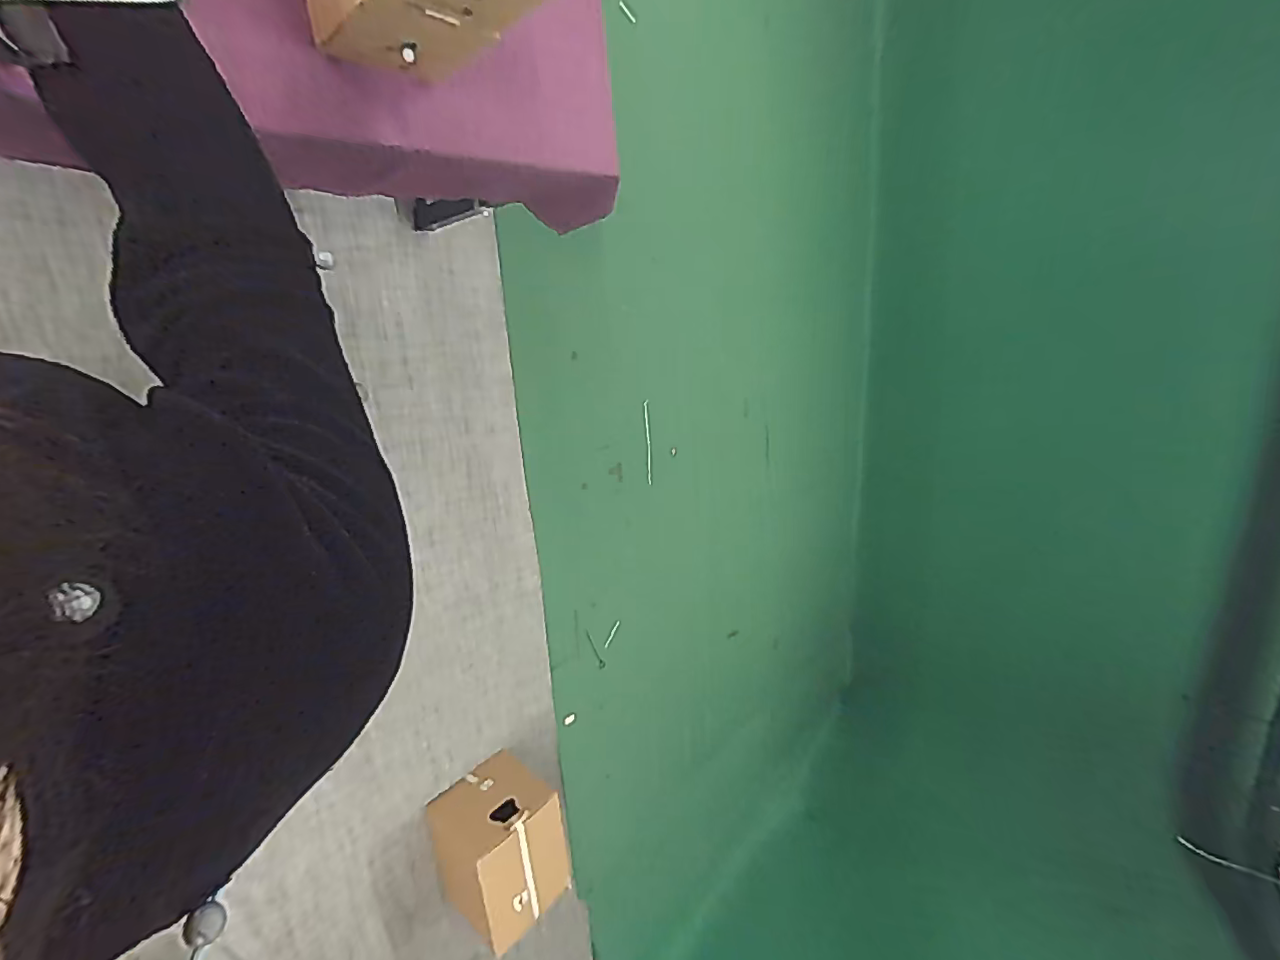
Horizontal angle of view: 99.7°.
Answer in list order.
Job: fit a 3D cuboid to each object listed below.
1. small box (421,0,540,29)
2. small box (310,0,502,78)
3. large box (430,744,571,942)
[{"bbox_3d":[-0.175,-0.607,0.547,0.168,0.176,0.179,-23,114,-44],"label":"small box"},{"bbox_3d":[-0.295,-0.630,0.658,0.168,0.176,0.179,-23,115,-44],"label":"small box"},{"bbox_3d":[-0.471,1.212,1.848,0.320,0.320,0.408,-22,115,-45],"label":"large box"}]
